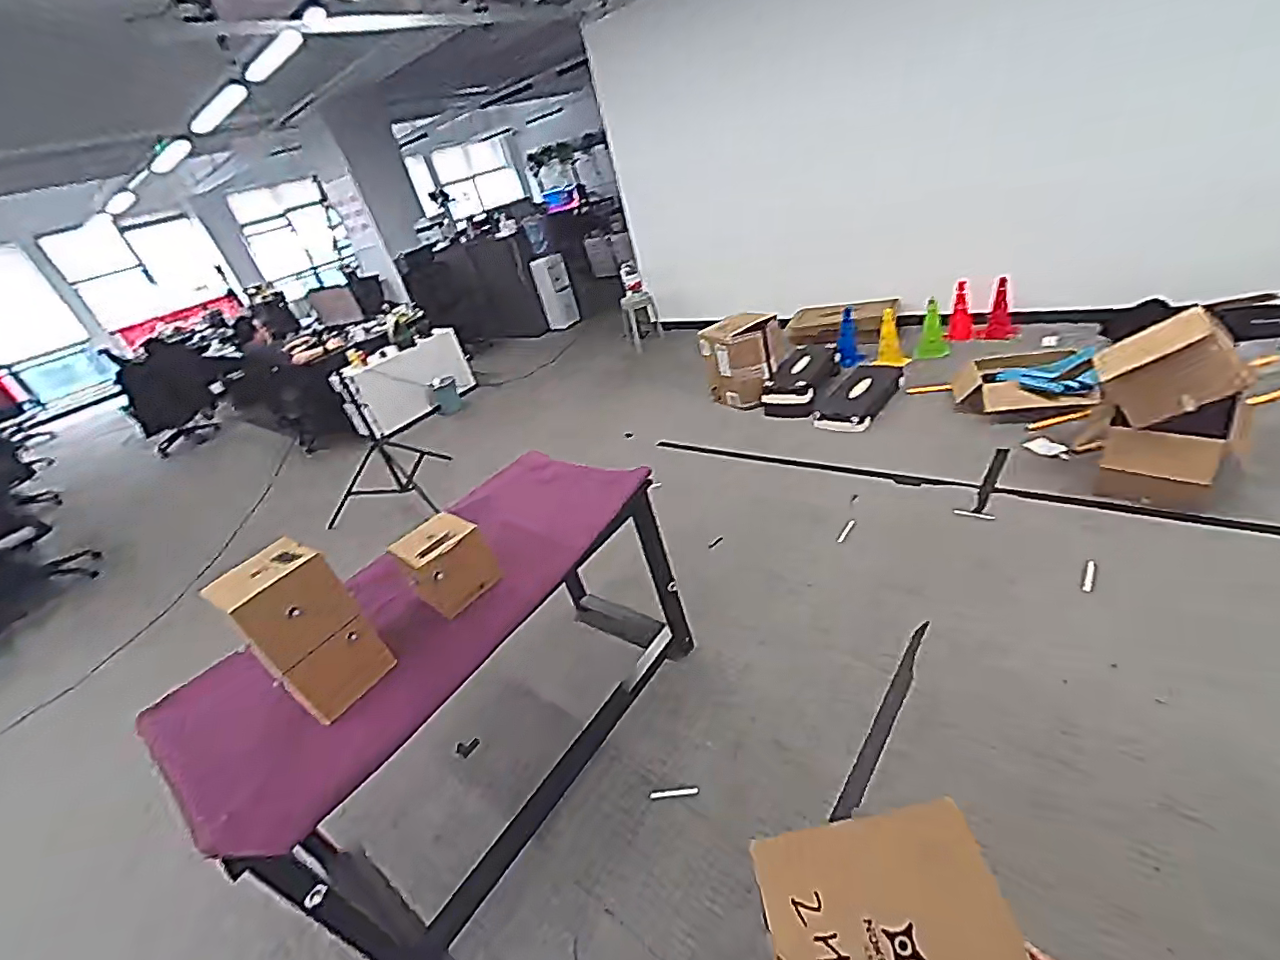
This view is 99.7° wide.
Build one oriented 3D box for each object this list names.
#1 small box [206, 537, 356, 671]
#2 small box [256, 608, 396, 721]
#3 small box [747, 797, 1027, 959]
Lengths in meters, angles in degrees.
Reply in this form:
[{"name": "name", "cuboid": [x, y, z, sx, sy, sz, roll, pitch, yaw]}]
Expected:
[{"name": "small box", "cuboid": [-0.708, 0.245, 1.088, 0.168, 0.176, 0.179, 9, 38, 37]}, {"name": "small box", "cuboid": [-0.673, 0.382, 1.172, 0.168, 0.176, 0.179, 9, 38, 36]}, {"name": "small box", "cuboid": [0.205, 0.393, 0.449, 0.179, 0.176, 0.168, -18, 40, 8]}]
